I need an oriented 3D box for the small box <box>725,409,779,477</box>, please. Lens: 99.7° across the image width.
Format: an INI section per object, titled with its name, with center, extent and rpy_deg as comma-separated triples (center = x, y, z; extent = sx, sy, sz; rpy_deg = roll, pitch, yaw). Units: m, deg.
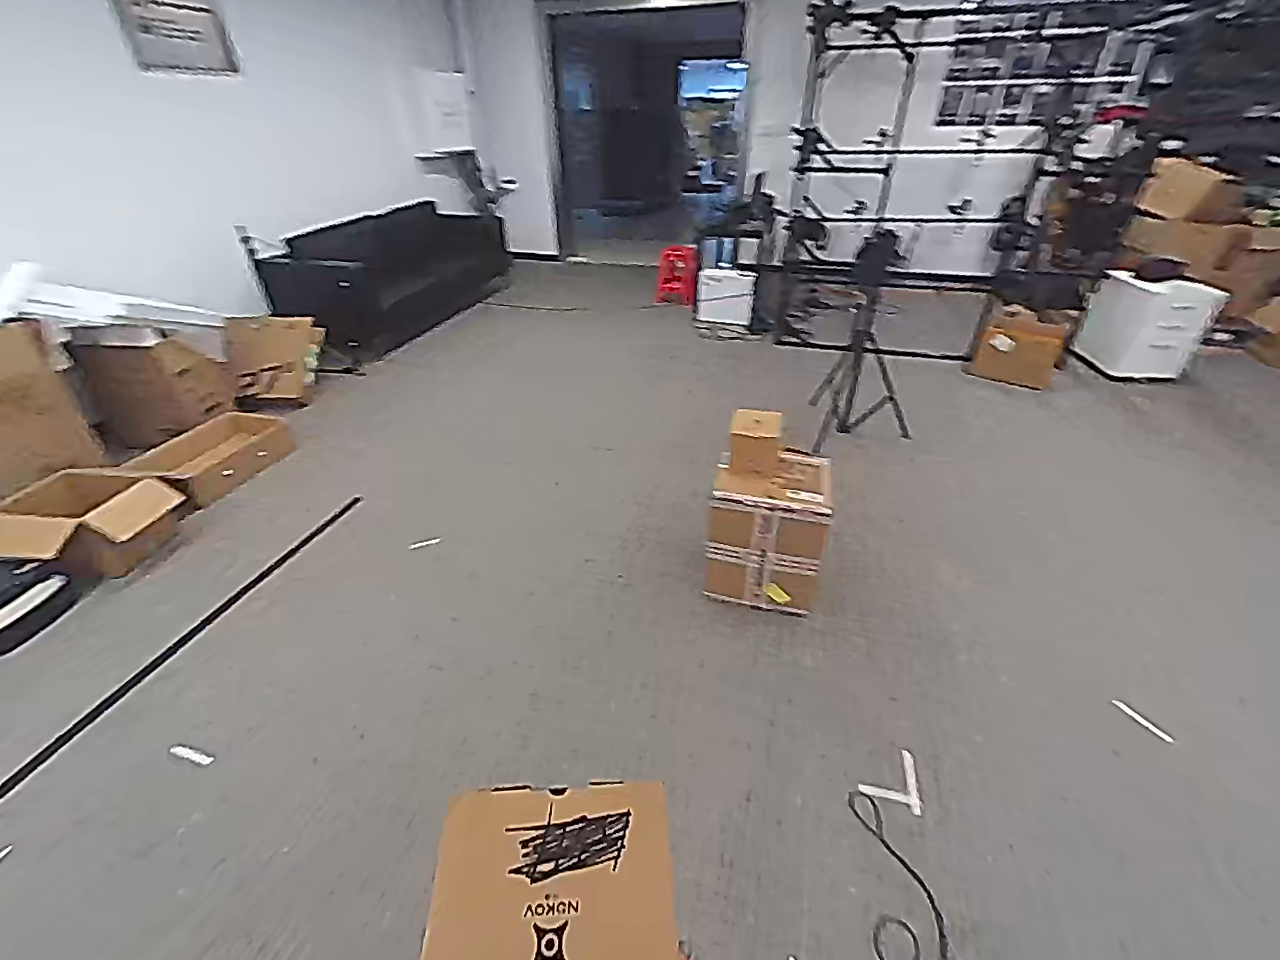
[small box]
center = 0.394, -0.133, 1.914
extent = 0.168, 0.176, 0.179
rpy_deg = 7, 38, 14
